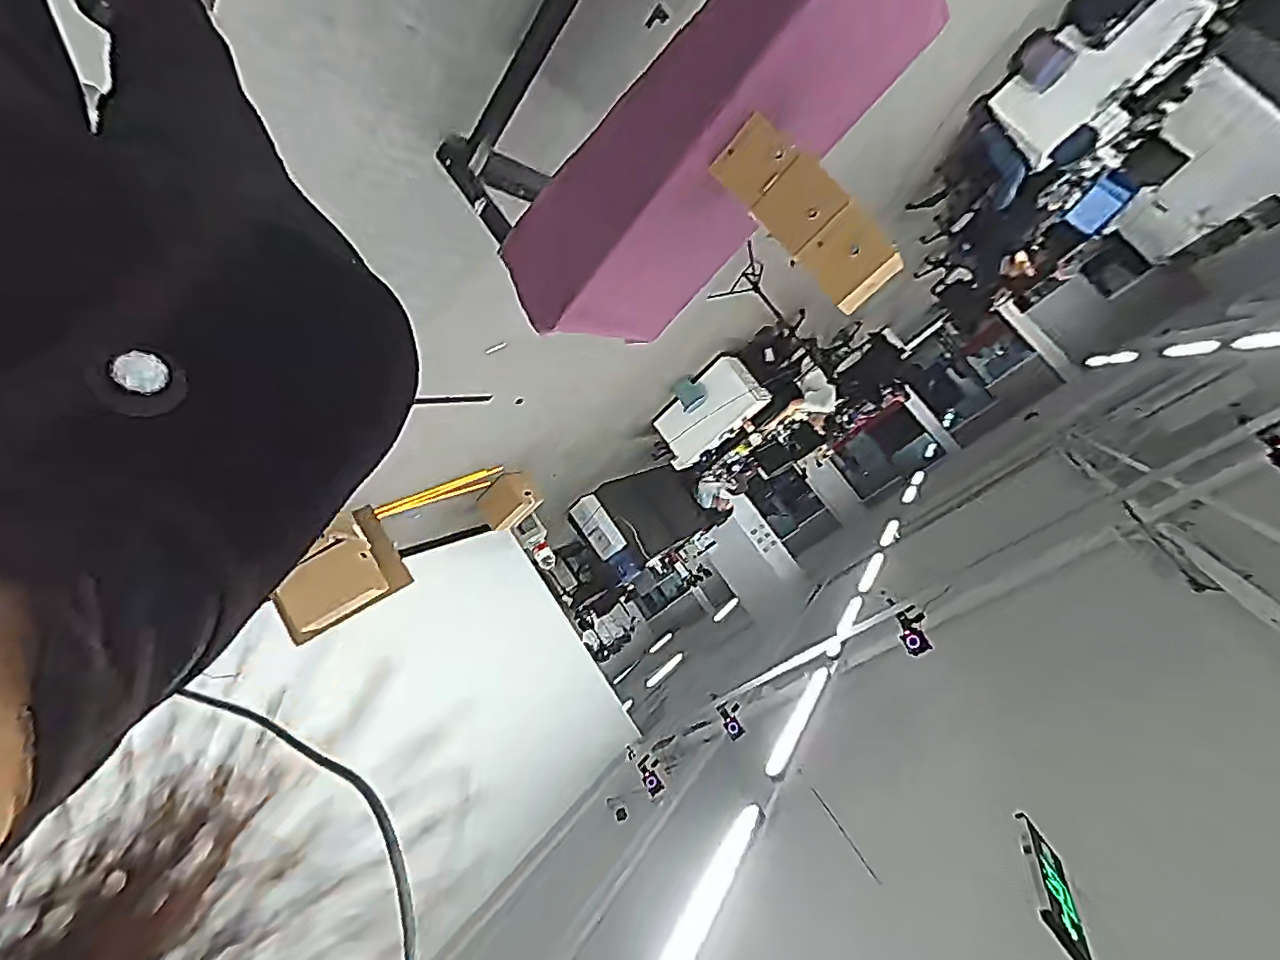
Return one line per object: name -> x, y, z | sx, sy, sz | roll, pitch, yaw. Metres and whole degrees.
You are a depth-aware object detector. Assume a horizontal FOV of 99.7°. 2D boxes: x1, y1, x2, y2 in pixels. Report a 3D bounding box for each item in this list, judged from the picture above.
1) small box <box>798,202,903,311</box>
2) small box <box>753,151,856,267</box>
small box -> 0.511, -0.542, 1.319 | 0.168, 0.176, 0.179 | -42, 168, 28
small box -> 0.413, -0.669, 1.344 | 0.179, 0.176, 0.168 | -42, 167, 27
